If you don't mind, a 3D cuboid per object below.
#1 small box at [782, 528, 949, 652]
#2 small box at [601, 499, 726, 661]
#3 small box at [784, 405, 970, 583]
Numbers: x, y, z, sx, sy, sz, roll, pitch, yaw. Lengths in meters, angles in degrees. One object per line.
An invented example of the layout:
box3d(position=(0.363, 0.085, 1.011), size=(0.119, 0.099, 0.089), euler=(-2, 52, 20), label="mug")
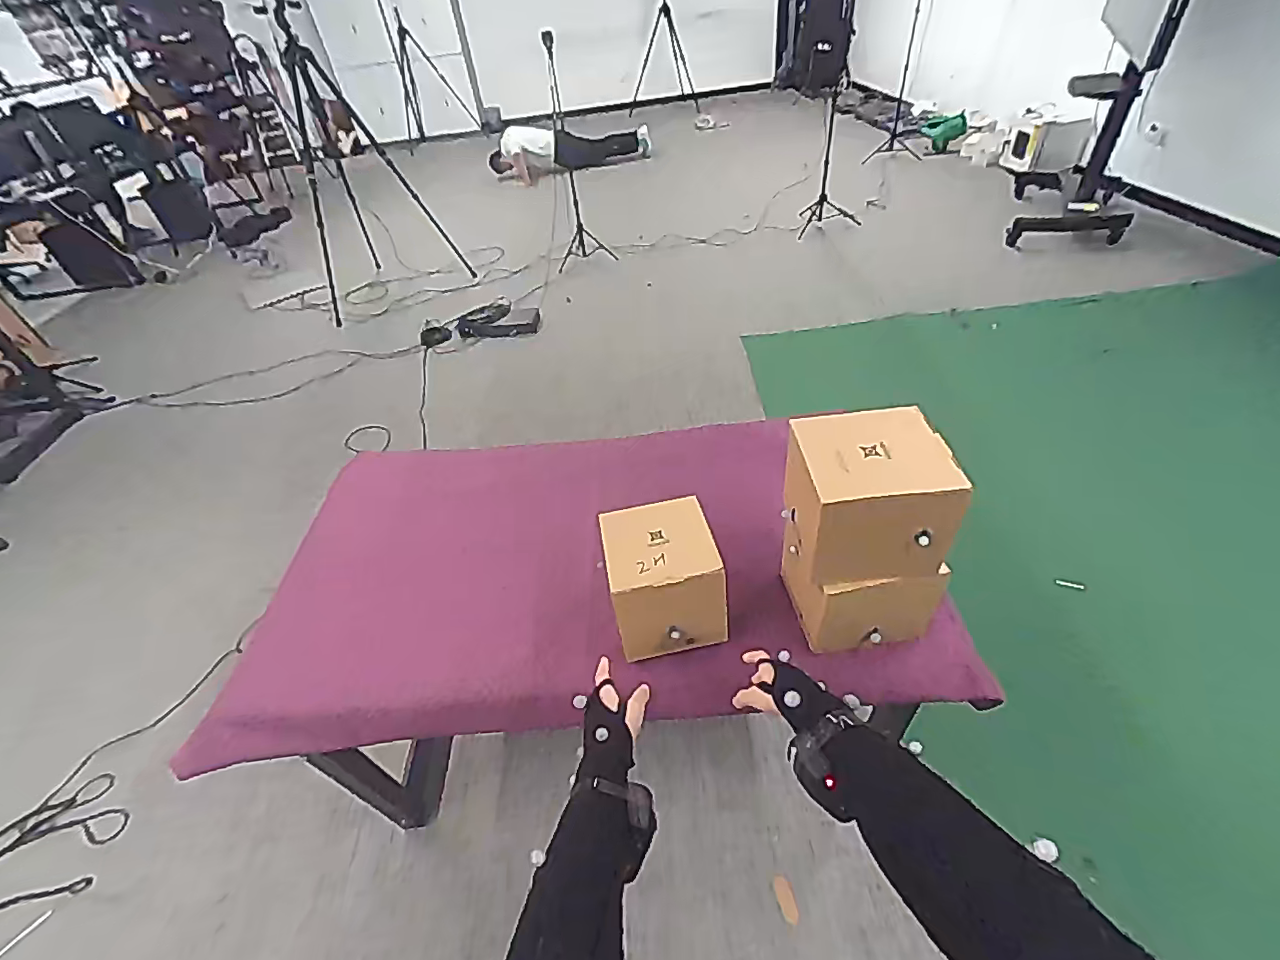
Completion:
box3d(position=(0.333, 0.144, 0.840), size=(0.179, 0.176, 0.168), euler=(-10, 43, -1), label="small box")
box3d(position=(0.037, 0.159, 0.869), size=(0.168, 0.176, 0.179), euler=(-12, 39, -2), label="small box")
box3d(position=(0.302, 0.021, 0.735), size=(0.179, 0.176, 0.168), euler=(-7, 43, 4), label="small box")
